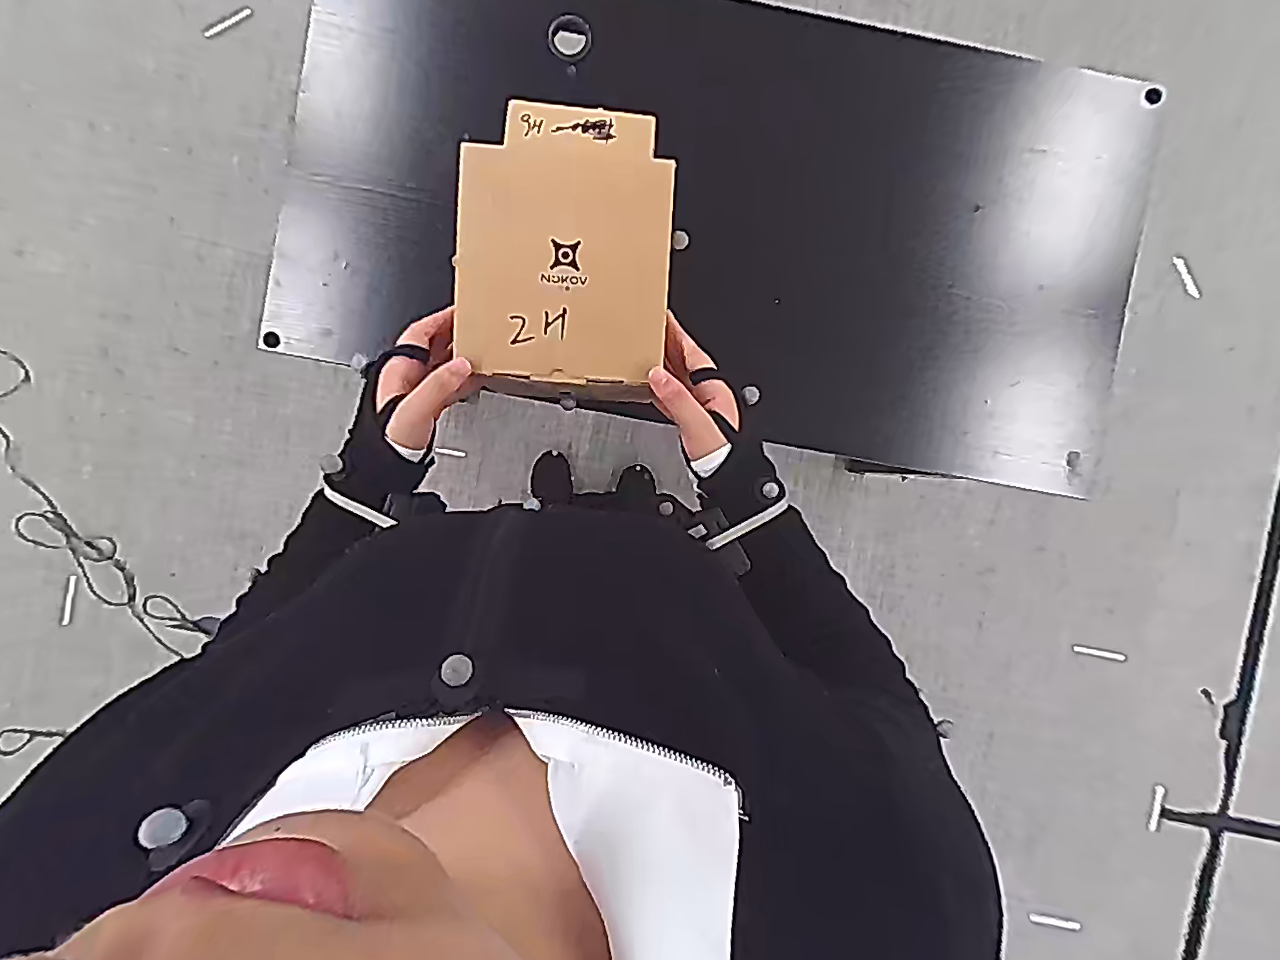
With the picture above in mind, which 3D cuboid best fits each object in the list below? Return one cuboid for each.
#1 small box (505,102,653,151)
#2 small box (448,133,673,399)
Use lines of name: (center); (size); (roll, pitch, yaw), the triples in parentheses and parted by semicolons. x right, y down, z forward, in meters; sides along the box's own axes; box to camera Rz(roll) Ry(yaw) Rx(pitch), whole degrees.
small box: (-0.075, -0.330, 0.685); (0.168, 0.176, 0.179); (6, 92, -1)
small box: (-0.065, -0.177, 0.499); (0.168, 0.176, 0.179); (4, 92, -2)
